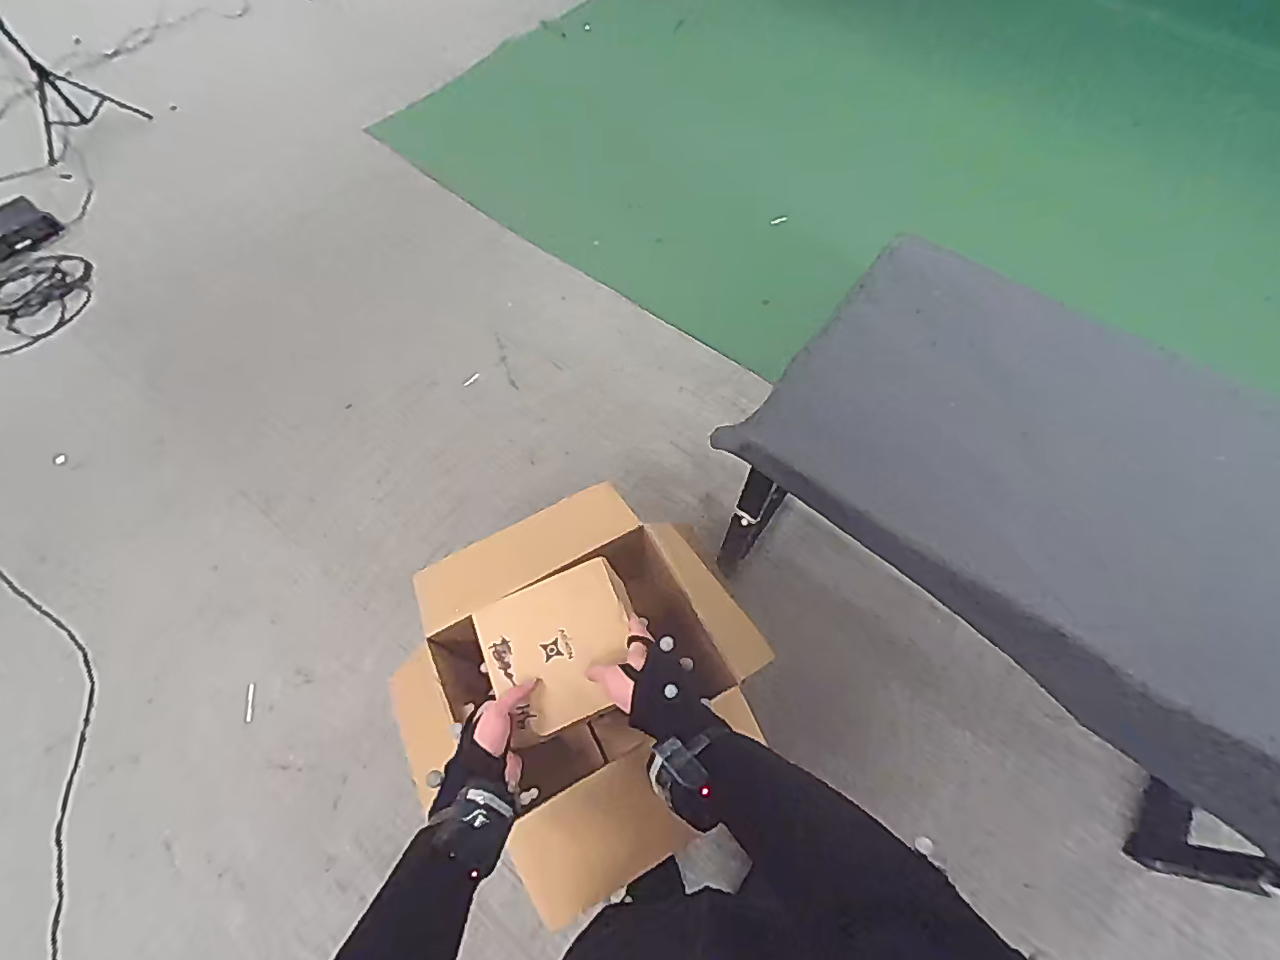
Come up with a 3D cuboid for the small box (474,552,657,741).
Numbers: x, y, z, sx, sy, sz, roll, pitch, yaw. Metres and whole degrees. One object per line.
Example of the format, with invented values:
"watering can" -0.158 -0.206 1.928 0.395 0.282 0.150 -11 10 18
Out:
"small box" -0.086 0.214 0.700 0.179 0.176 0.168 -22 68 -4
